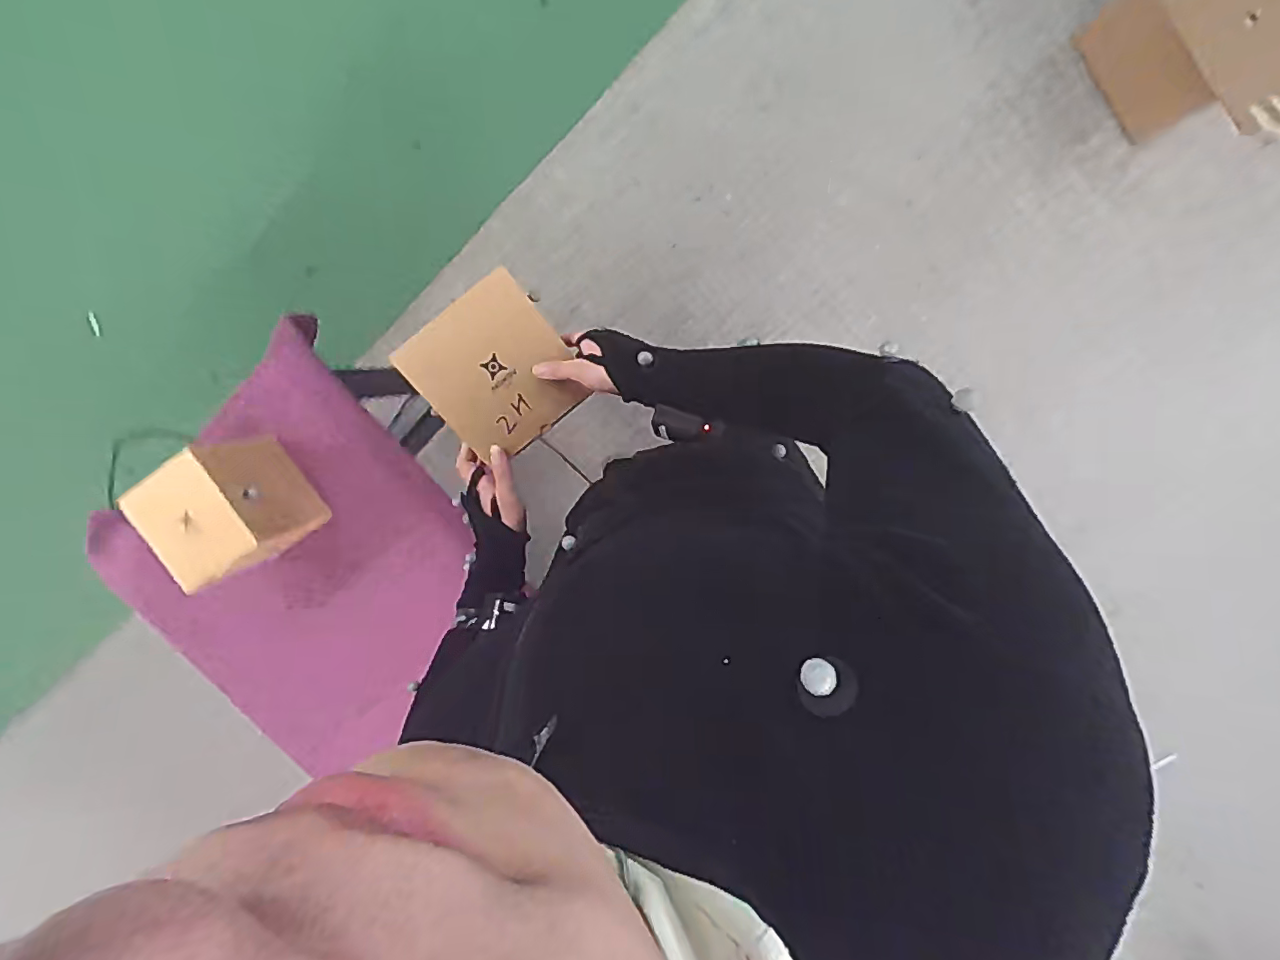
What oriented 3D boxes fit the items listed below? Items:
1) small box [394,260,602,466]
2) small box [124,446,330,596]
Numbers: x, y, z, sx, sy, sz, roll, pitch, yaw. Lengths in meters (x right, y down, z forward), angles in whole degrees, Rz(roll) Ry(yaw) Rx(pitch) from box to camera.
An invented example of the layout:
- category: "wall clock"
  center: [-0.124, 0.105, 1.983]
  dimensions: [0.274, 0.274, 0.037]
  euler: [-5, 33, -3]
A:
- category: "small box"
  center: [-0.173, -0.148, 0.690]
  dimensions: [0.168, 0.176, 0.179]
  euler: [-38, 109, 1]
- category: "small box"
  center: [-0.674, 0.056, 0.903]
  dimensions: [0.168, 0.176, 0.179]
  euler: [-31, 98, 13]
